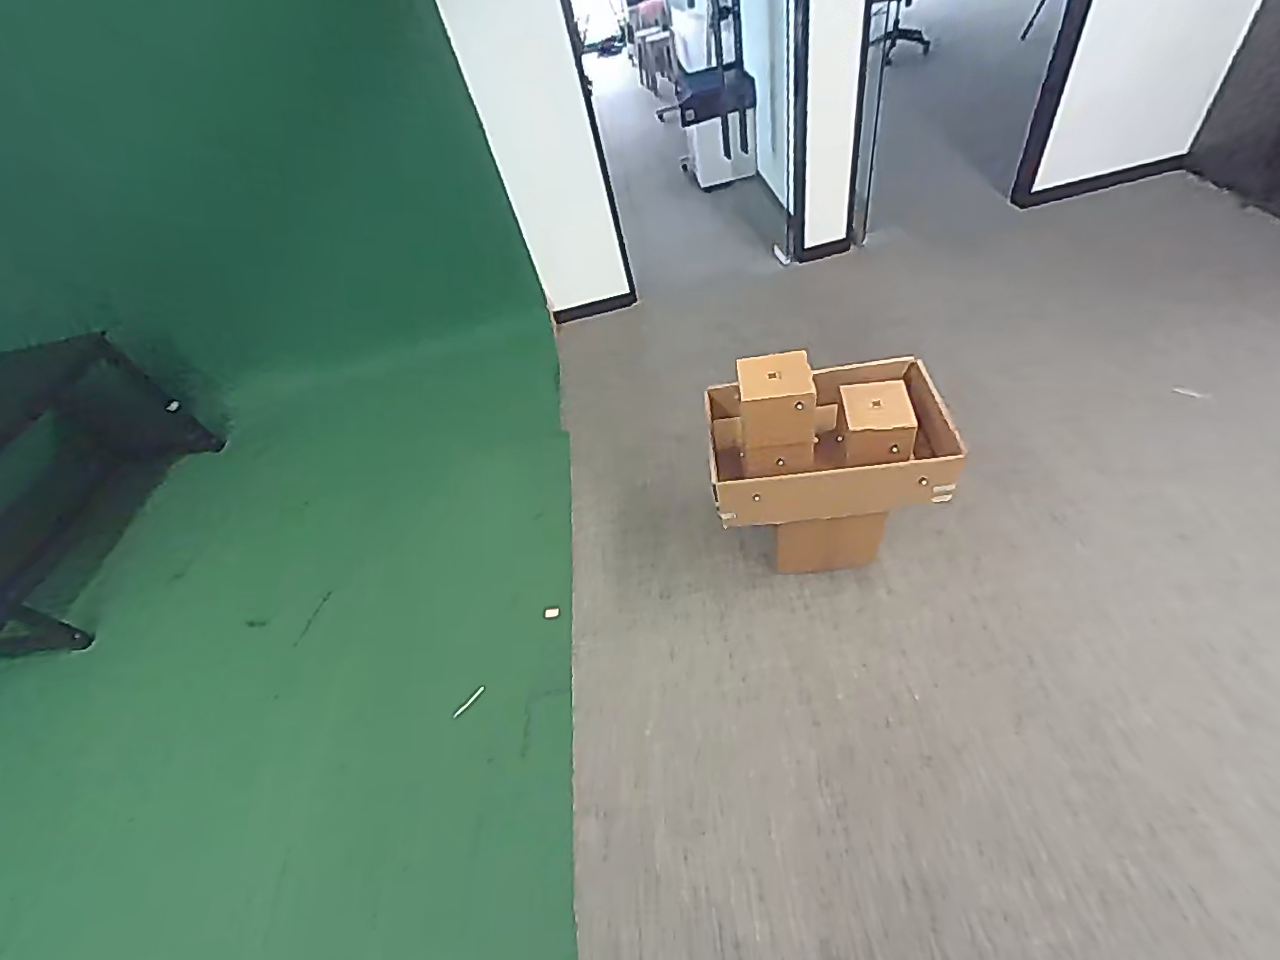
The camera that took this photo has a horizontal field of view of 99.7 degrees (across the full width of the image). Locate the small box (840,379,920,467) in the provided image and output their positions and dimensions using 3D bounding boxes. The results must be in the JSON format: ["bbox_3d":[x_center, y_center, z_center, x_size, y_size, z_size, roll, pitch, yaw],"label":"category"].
[{"bbox_3d":[0.643,-0.147,1.466,0.168,0.176,0.179,-4,50,13],"label":"small box"}]

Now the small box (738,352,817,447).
[{"bbox_3d":[0.351,-0.201,1.383,0.179,0.176,0.168,-6,49,11],"label":"small box"}]
